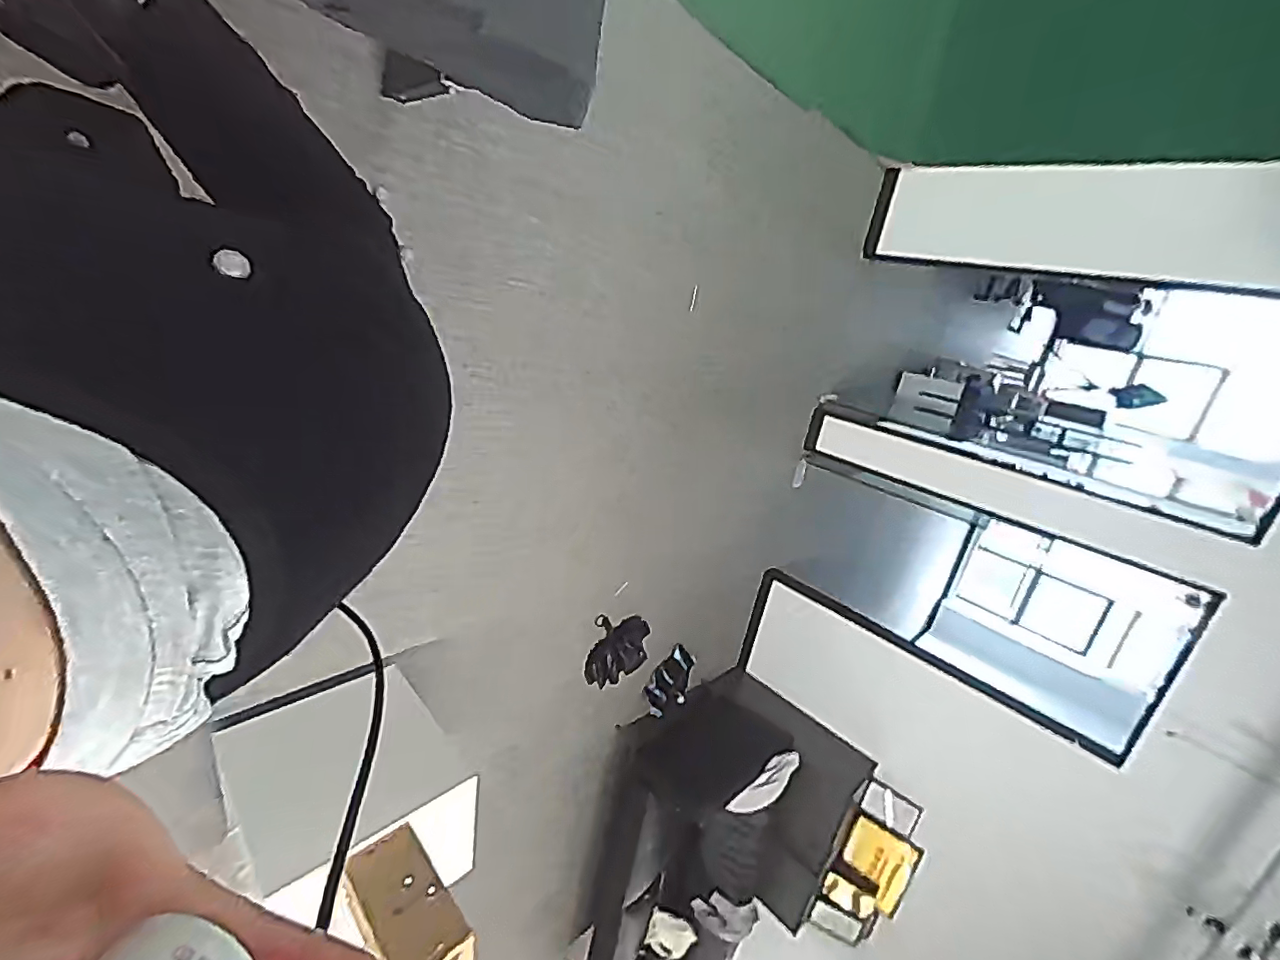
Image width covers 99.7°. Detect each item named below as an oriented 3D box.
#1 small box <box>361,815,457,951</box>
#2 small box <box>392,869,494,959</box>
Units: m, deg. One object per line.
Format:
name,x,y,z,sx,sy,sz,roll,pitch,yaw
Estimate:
small box,-0.566,0.981,1.333,0.168,0.176,0.179,-18,125,-43
small box,-0.450,1.040,1.232,0.168,0.176,0.179,-17,124,-43
